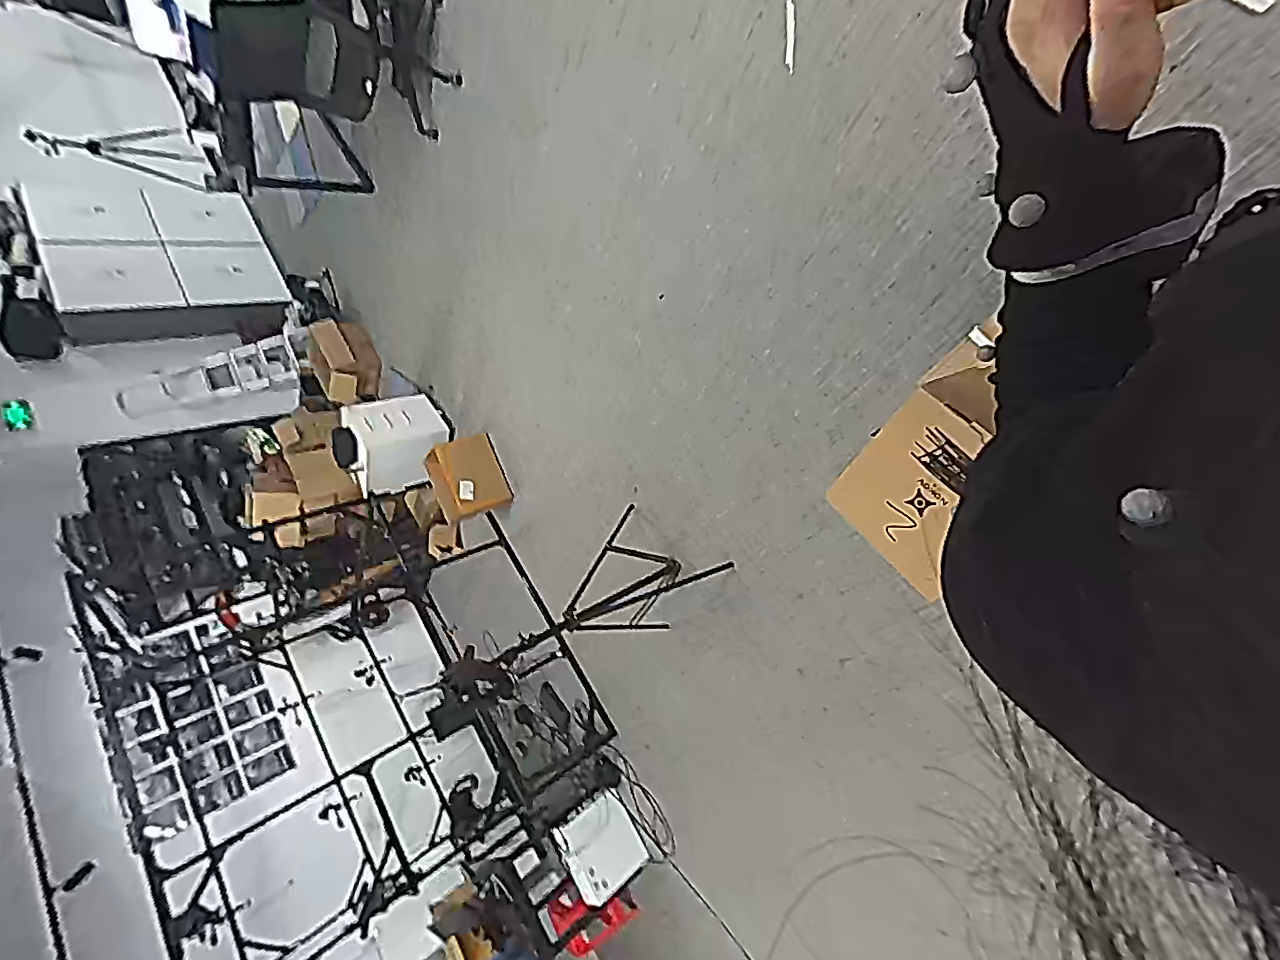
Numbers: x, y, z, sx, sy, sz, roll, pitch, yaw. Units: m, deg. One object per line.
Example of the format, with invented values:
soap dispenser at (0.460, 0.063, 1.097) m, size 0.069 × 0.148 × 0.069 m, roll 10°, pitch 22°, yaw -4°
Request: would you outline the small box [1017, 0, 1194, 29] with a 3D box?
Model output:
small box at (0.210, -0.303, 0.184) m, size 0.179 × 0.176 × 0.168 m, roll 46°, pitch 122°, yaw -12°
